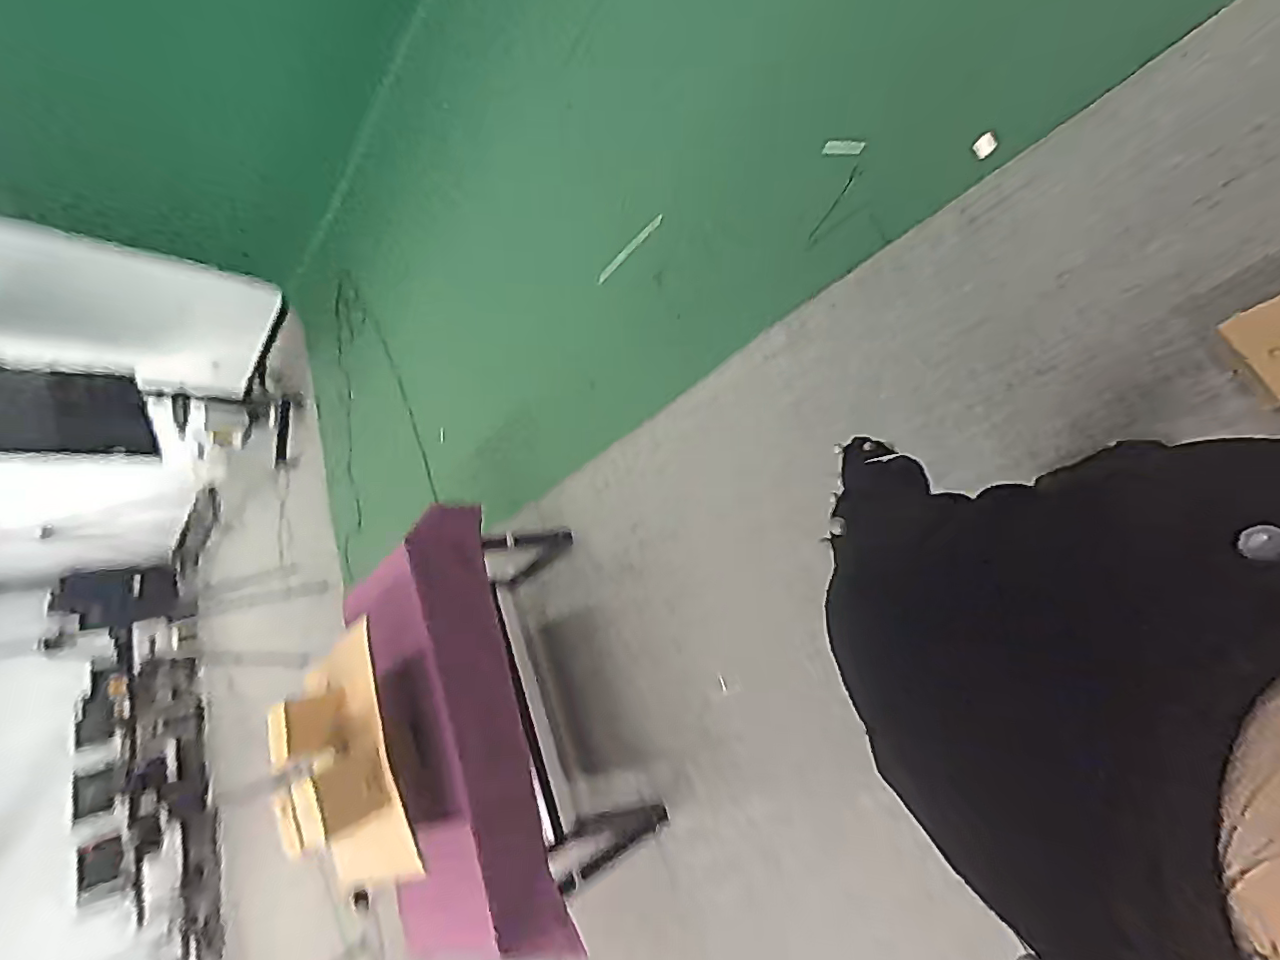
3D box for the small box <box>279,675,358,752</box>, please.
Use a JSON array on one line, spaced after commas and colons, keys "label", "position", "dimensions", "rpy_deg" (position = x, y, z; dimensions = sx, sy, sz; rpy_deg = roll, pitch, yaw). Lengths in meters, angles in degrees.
[{"label": "small box", "position": [-0.991, 0.717, 1.665], "dimensions": [0.179, 0.176, 0.168], "rpy_deg": [-34, 65, 36]}]
